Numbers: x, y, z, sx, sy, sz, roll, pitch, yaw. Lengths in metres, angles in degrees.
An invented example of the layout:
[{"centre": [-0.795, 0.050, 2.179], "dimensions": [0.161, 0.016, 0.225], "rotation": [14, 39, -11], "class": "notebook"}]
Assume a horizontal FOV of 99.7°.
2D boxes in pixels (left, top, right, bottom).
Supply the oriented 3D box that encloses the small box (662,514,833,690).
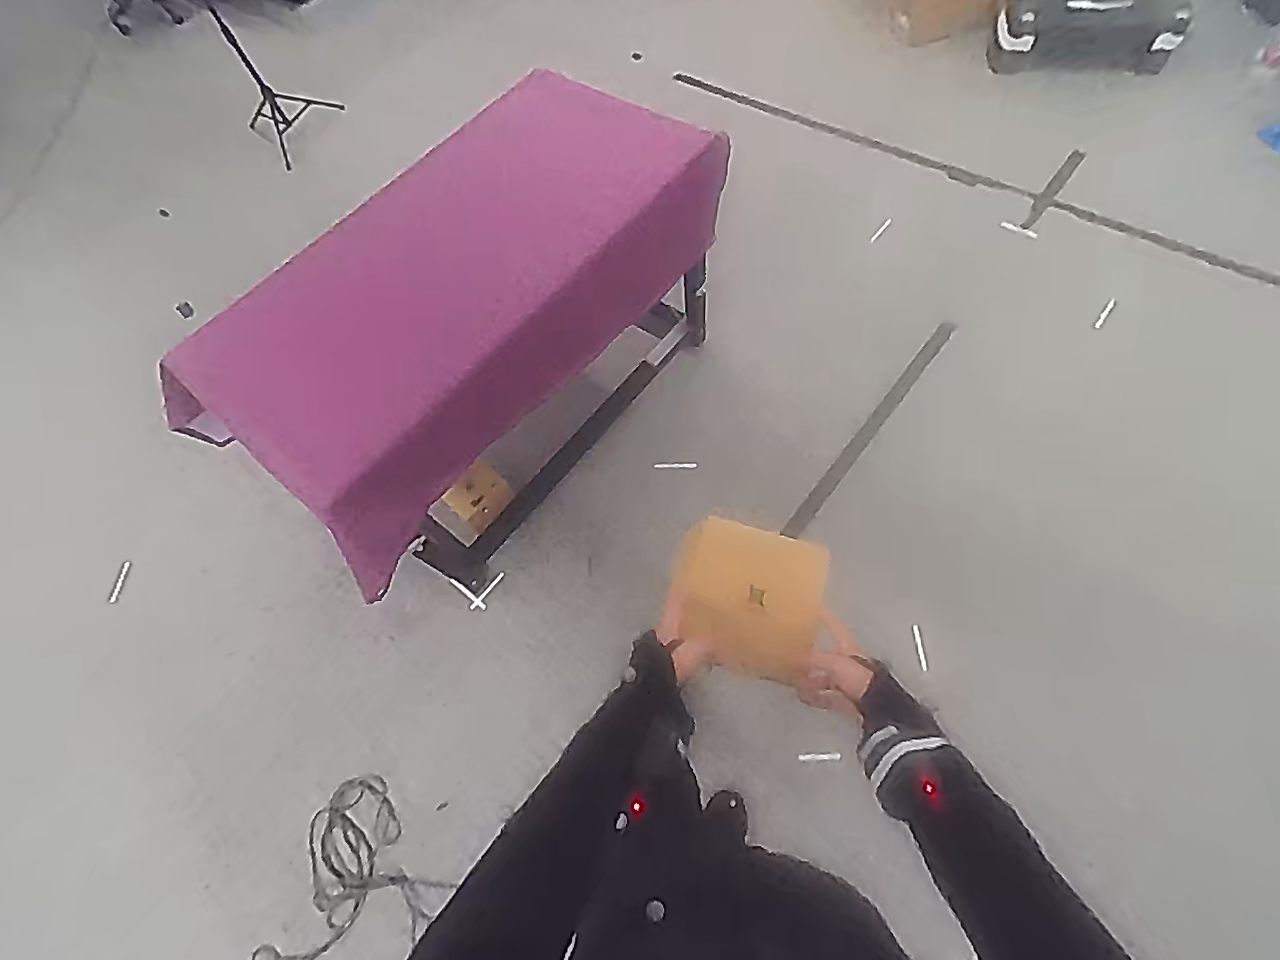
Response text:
[{"centre": [0.136, 0.165, 0.735], "dimensions": [0.168, 0.176, 0.179], "rotation": [17, 75, -2], "class": "small box"}]
